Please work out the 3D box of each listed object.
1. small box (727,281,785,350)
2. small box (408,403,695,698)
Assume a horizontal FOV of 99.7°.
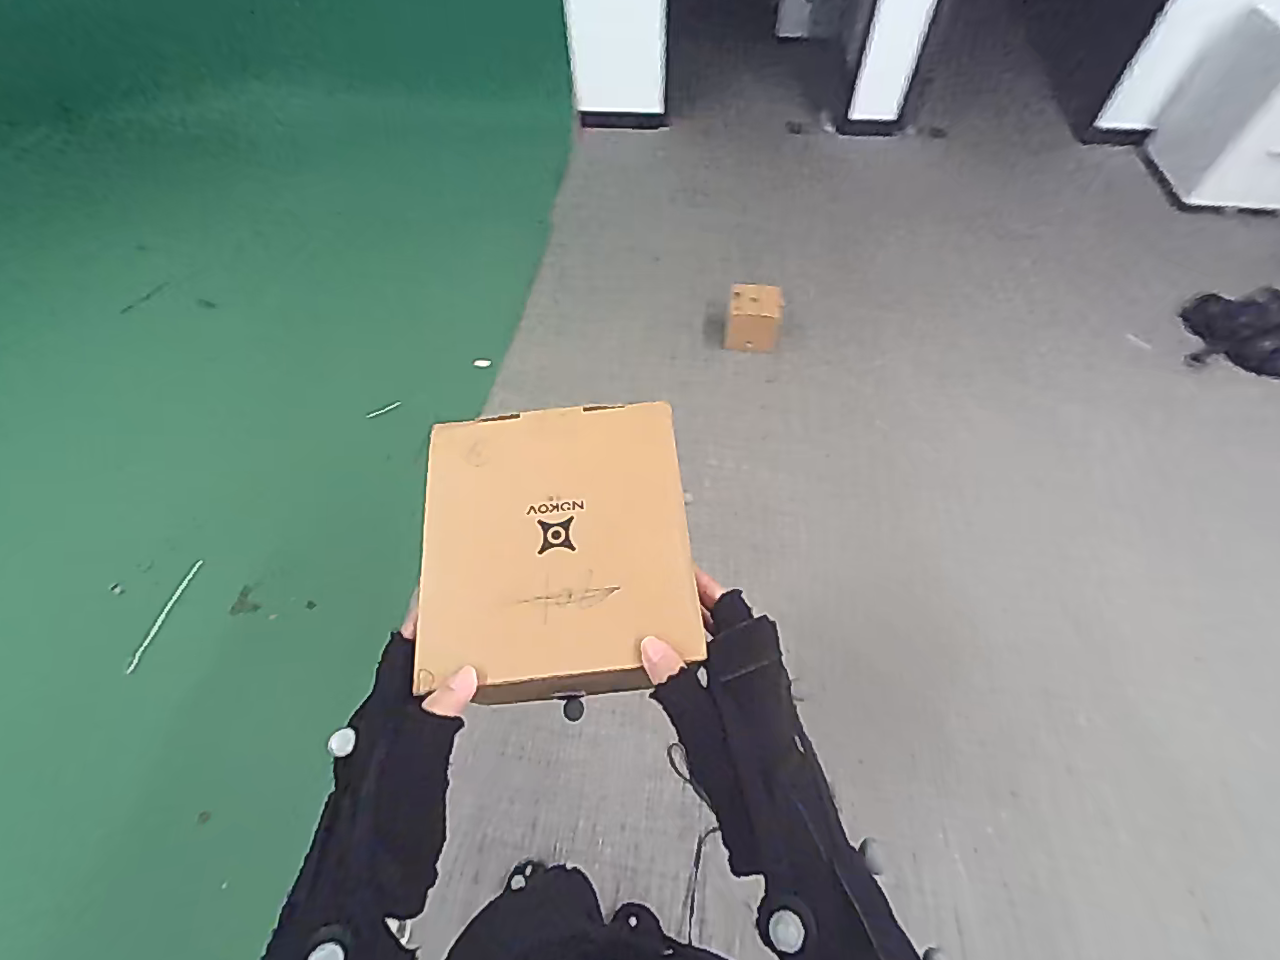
[{"bbox_3d":[0.419,-0.592,1.955,0.179,0.176,0.168,7,57,7],"label":"small box"},{"bbox_3d":[-0.053,0.063,0.412,0.168,0.176,0.179,-5,65,0],"label":"small box"}]
